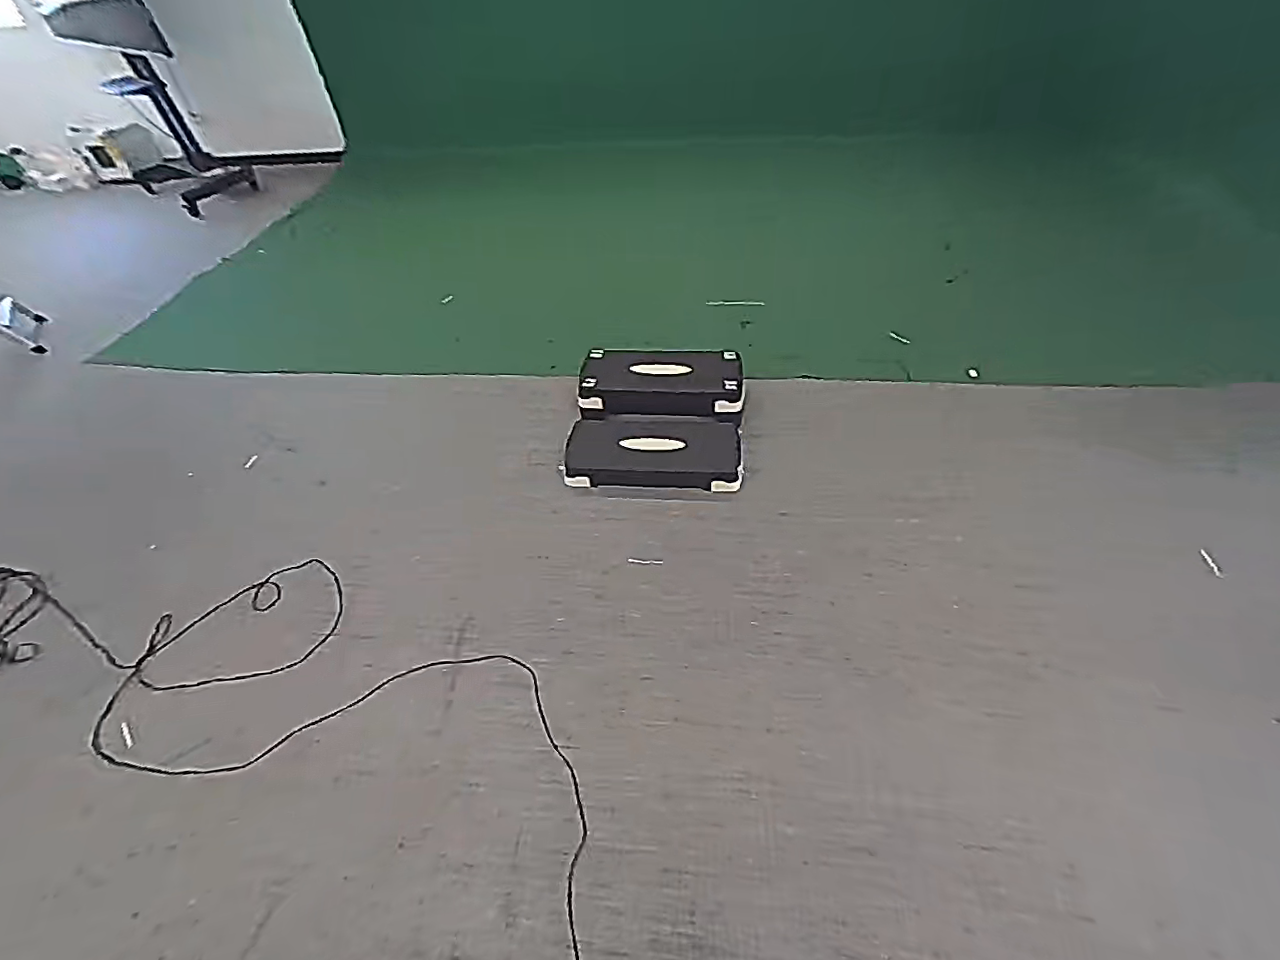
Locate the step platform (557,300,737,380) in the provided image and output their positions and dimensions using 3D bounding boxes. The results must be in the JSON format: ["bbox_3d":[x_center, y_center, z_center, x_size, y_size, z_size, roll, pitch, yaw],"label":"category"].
[{"bbox_3d":[0.033,-0.549,2.128,0.684,0.204,0.286,2,48,7],"label":"step platform"}]
